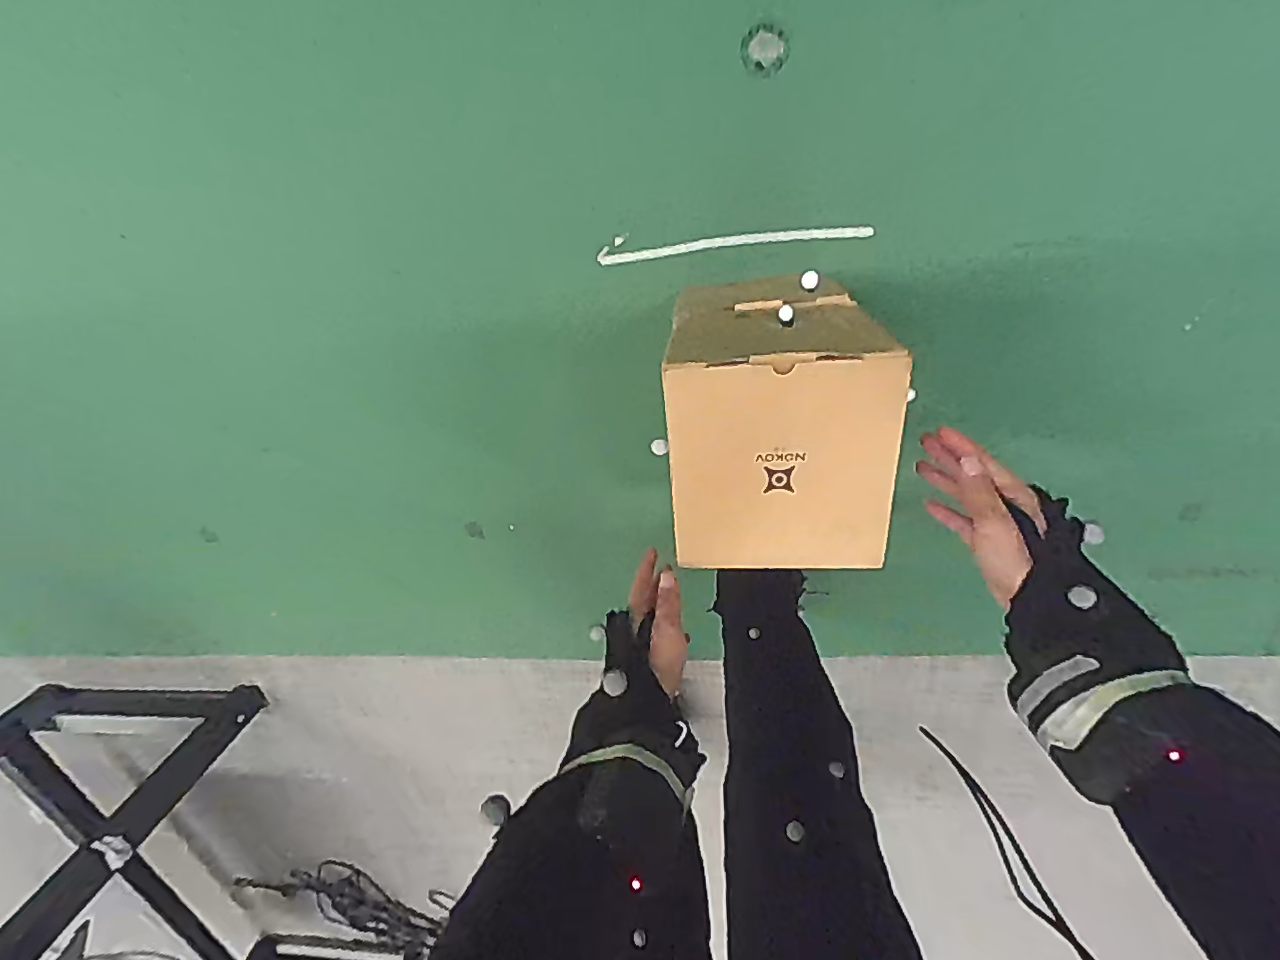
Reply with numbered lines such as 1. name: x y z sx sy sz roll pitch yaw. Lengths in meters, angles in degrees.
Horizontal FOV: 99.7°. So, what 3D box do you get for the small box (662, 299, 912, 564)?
1. small box: 0.113 -0.047 0.467 0.168 0.176 0.179 -1 118 9
